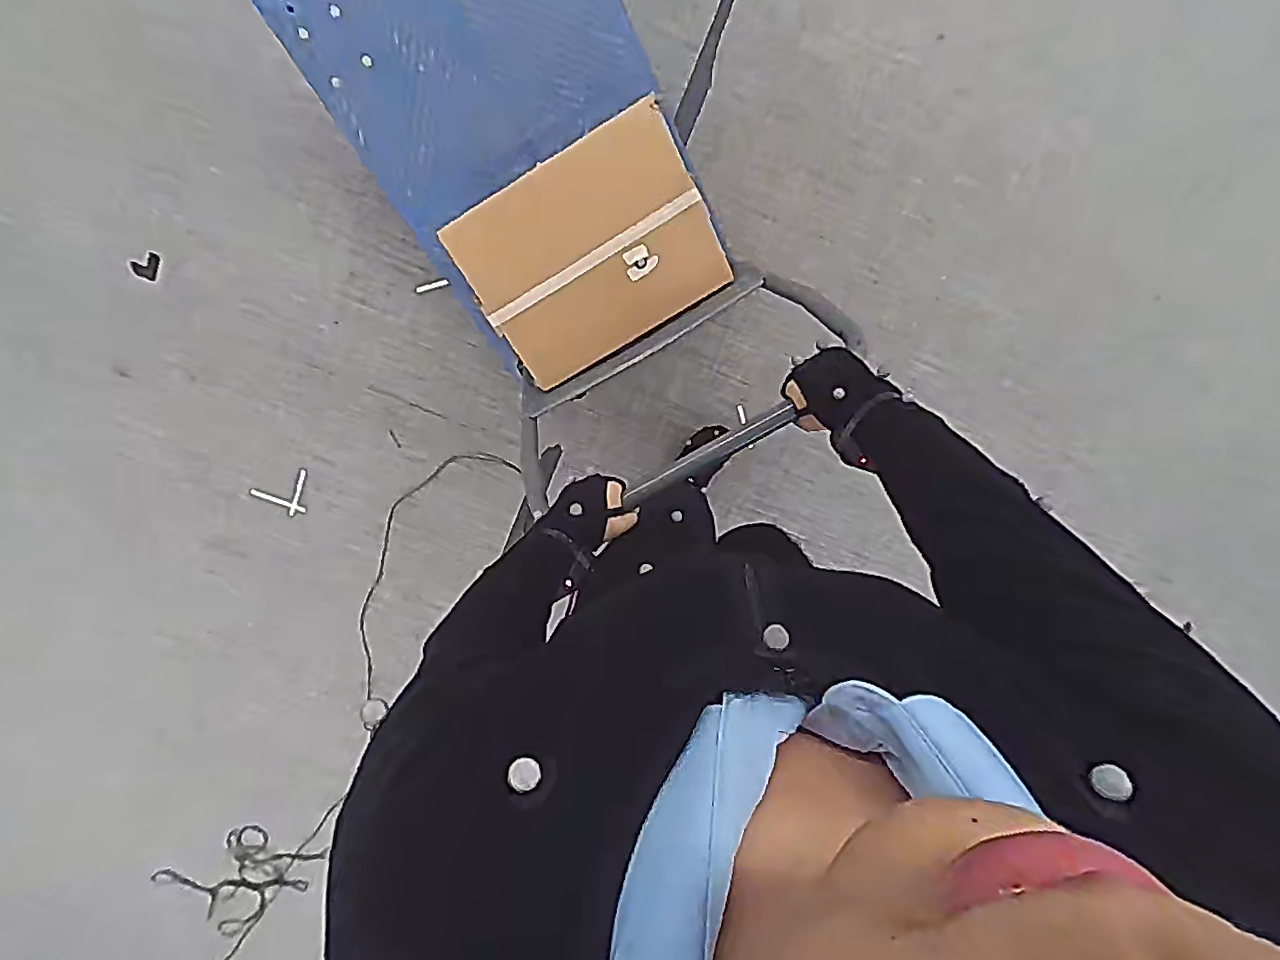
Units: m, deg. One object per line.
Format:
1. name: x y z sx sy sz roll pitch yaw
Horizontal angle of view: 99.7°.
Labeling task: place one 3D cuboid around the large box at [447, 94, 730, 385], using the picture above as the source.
1. large box: -0.102 -0.452 1.063 0.408 0.320 0.320 -31 117 5
